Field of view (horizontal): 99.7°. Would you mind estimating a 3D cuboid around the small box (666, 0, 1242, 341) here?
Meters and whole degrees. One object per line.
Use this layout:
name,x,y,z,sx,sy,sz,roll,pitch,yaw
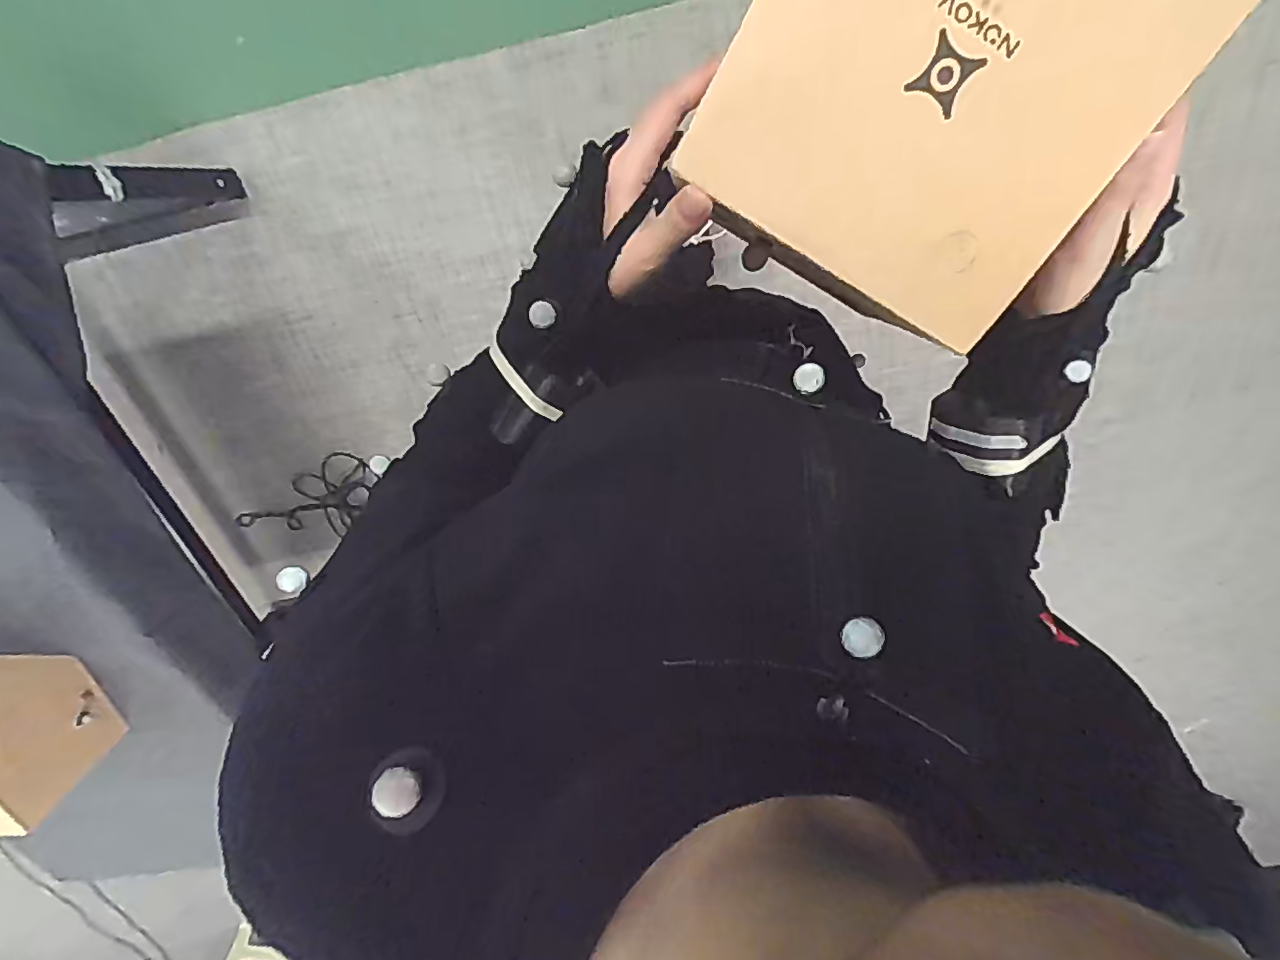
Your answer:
small box,0.132,-0.202,0.290,0.168,0.176,0.179,29,112,-6
